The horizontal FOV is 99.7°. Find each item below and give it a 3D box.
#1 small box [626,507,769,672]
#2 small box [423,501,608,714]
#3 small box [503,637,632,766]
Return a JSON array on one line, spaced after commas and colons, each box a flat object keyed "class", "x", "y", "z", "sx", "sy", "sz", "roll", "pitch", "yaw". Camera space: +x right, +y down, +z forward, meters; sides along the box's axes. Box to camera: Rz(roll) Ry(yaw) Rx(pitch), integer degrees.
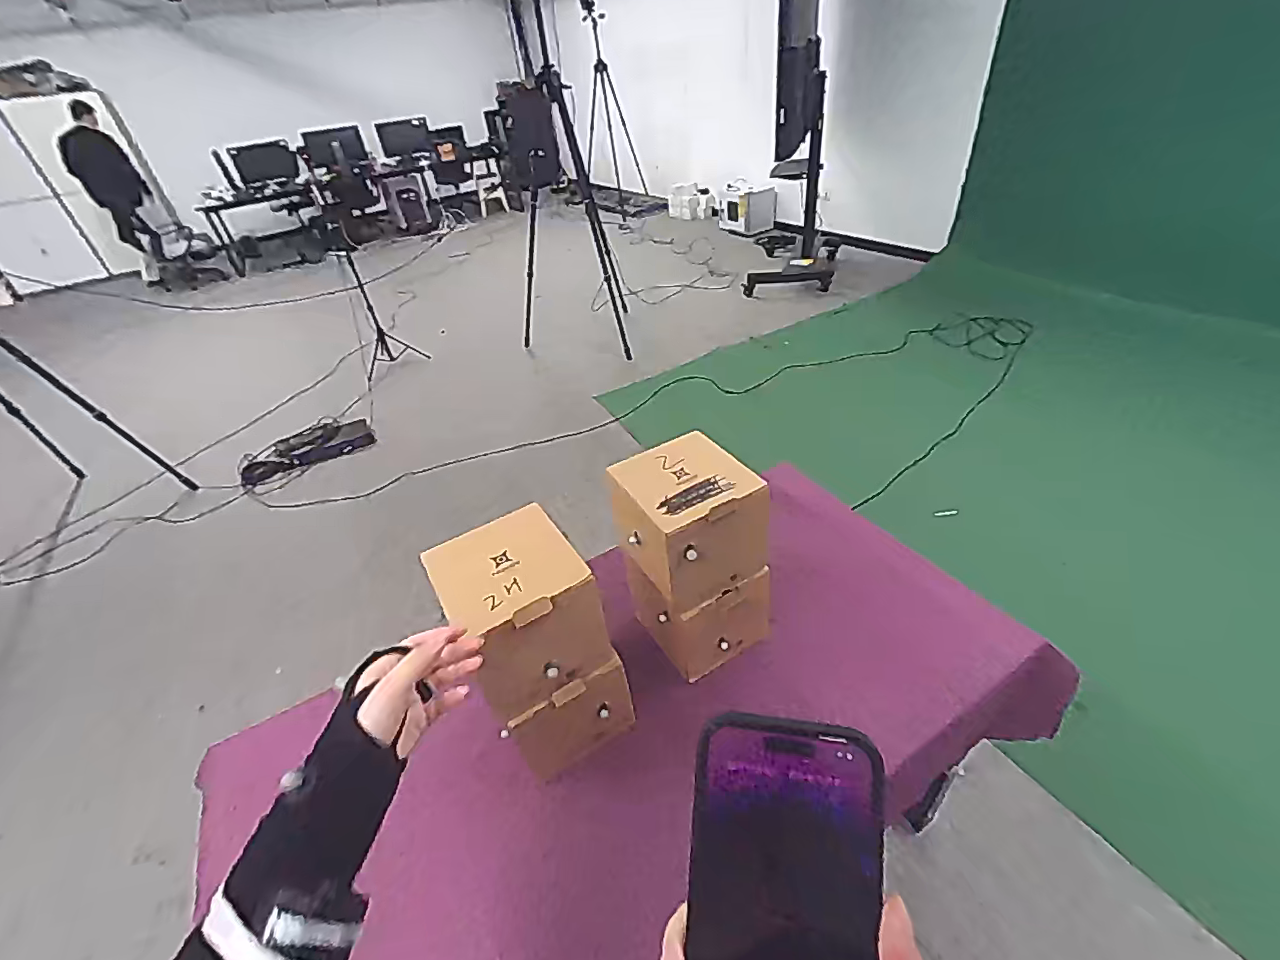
[{"class": "small box", "x": 0.093, "y": 0.182, "z": 0.907, "sx": 0.168, "sy": 0.176, "sz": 0.179, "roll": -25, "pitch": 42, "yaw": -20}, {"class": "small box", "x": -0.159, "y": 0.163, "z": 0.711, "sx": 0.168, "sy": 0.176, "sz": 0.179, "roll": -26, "pitch": 41, "yaw": -21}, {"class": "small box", "x": -0.127, "y": 0.293, "z": 0.809, "sx": 0.168, "sy": 0.176, "sz": 0.179, "roll": -25, "pitch": 41, "yaw": -21}]
